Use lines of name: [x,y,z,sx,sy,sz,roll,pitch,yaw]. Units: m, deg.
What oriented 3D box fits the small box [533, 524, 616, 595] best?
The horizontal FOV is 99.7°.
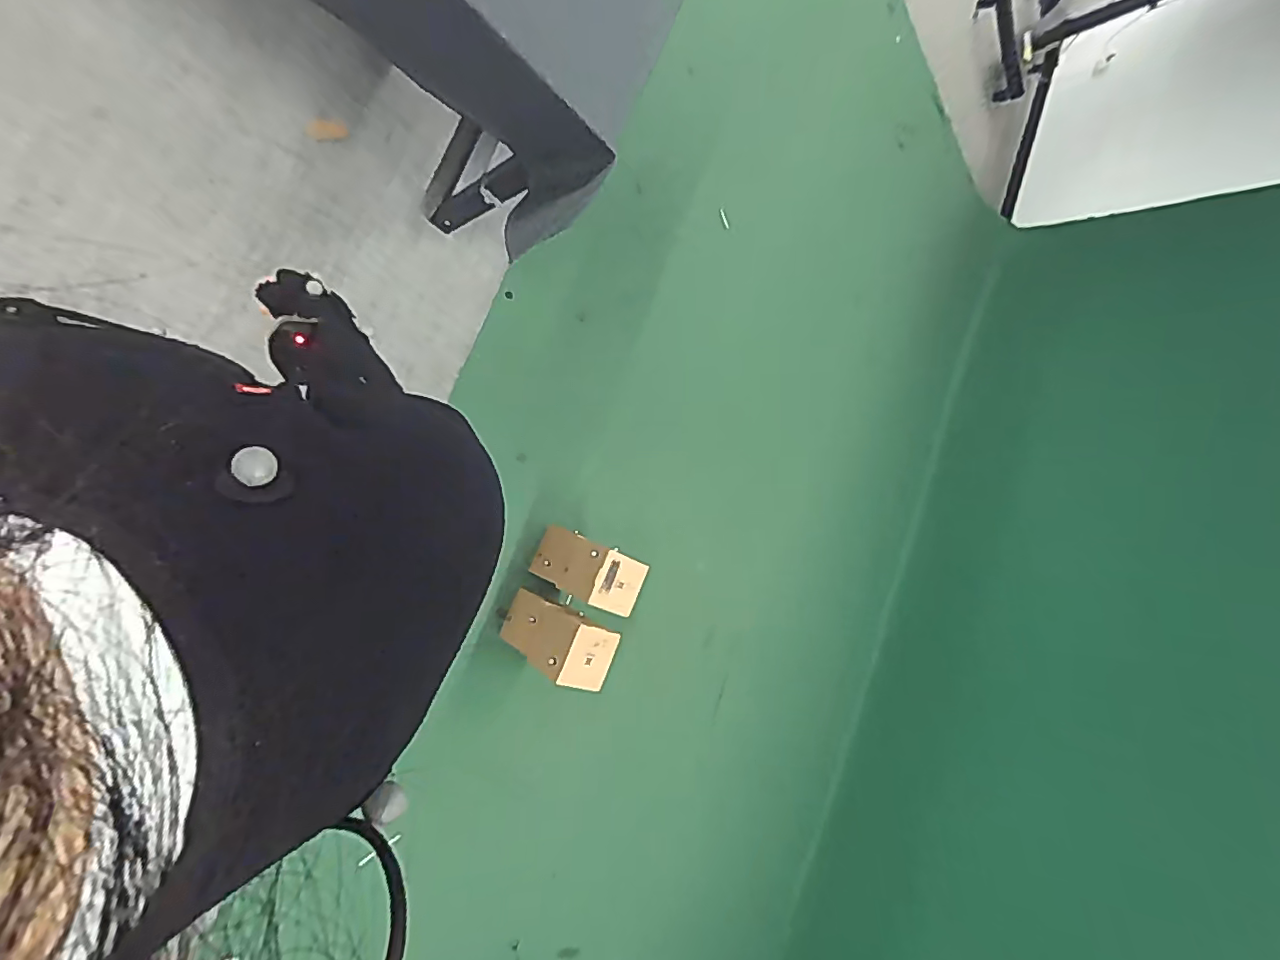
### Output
small box: [-0.216,0.252,1.753,0.179,0.176,0.168,34,76,-39]
